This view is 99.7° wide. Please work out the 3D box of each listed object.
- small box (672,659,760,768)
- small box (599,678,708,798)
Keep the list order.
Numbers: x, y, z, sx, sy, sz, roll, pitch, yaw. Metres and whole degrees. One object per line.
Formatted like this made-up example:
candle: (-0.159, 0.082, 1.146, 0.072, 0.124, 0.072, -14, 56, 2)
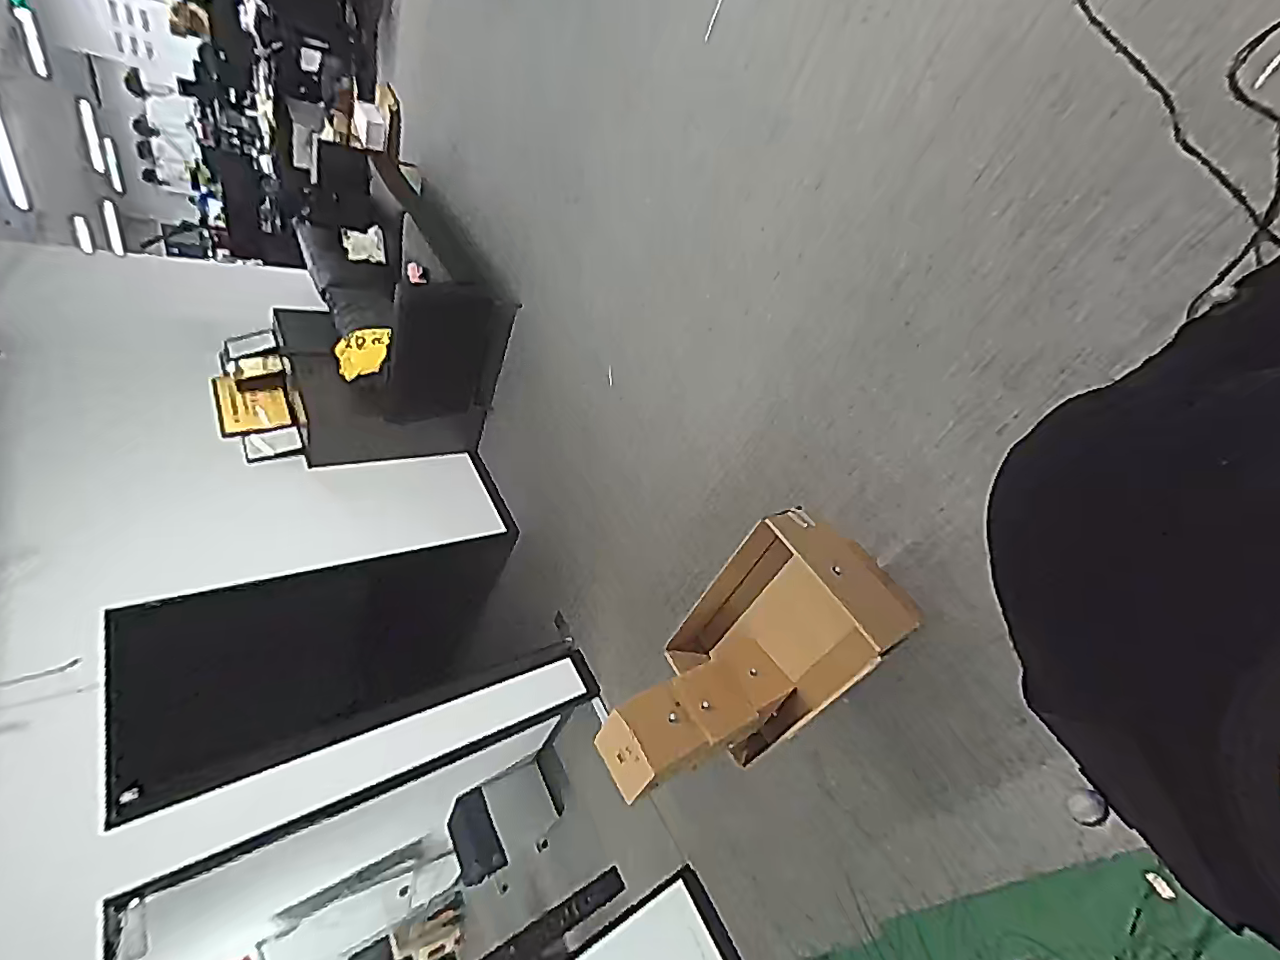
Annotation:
small box: (0.168, 0.580, 1.372, 0.179, 0.176, 0.168, 48, 132, 33)
small box: (0.033, 0.605, 1.279, 0.168, 0.176, 0.179, 50, 132, 31)
